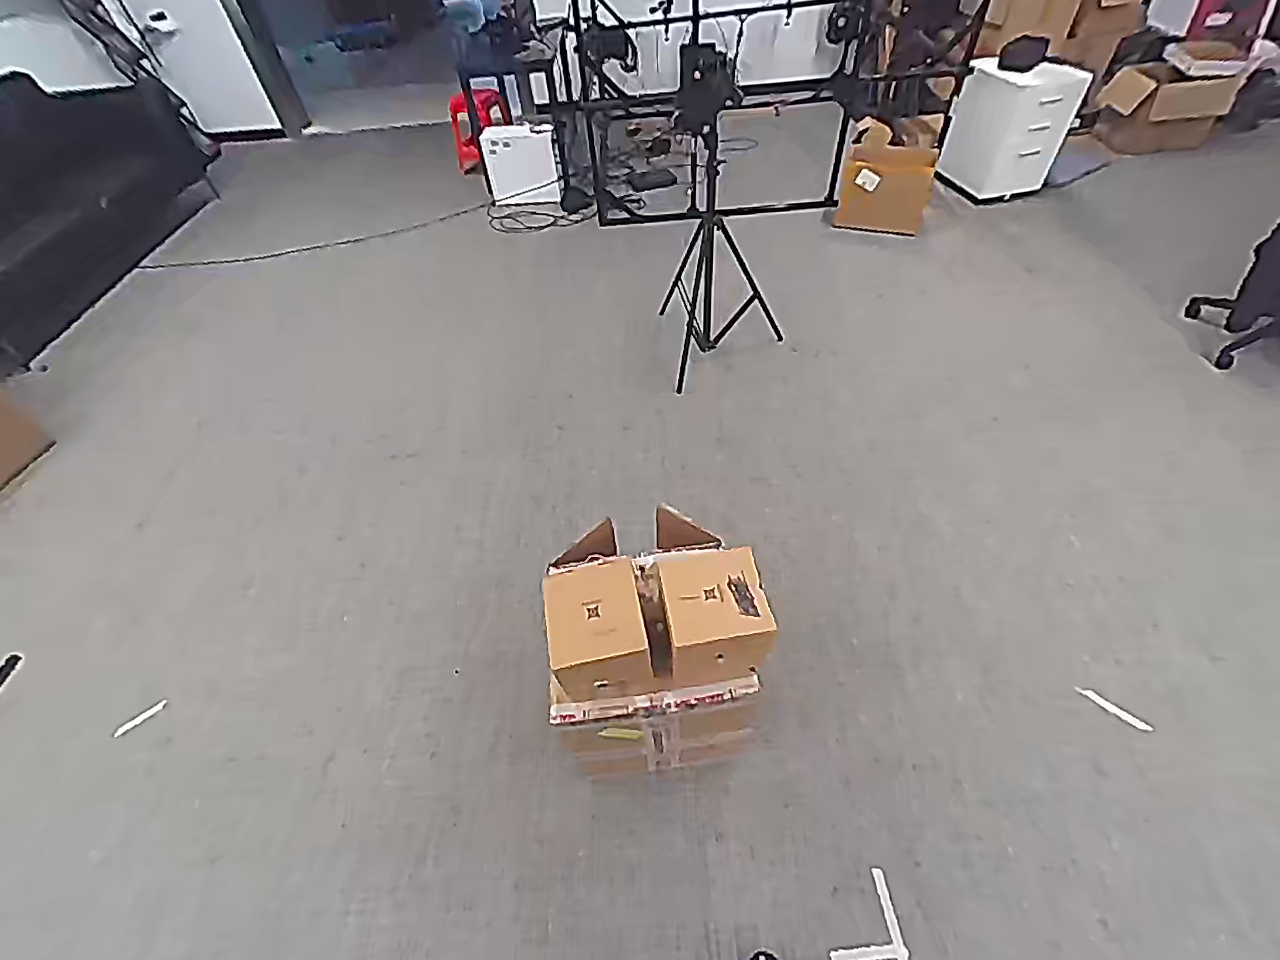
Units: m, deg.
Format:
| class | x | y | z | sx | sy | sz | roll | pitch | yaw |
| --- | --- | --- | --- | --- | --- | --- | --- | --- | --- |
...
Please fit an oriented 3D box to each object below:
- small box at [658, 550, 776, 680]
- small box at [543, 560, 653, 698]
| class | x | y | z | sx | sy | sz | roll | pitch | yaw |
| --- | --- | --- | --- | --- | --- | --- | --- | --- | --- |
| small box | 0.131 | 0.252 | 0.999 | 0.179 | 0.176 | 0.168 | -9 | 51 | -4 |
| small box | -0.075 | 0.277 | 0.996 | 0.168 | 0.176 | 0.179 | -12 | 53 | -4 |
